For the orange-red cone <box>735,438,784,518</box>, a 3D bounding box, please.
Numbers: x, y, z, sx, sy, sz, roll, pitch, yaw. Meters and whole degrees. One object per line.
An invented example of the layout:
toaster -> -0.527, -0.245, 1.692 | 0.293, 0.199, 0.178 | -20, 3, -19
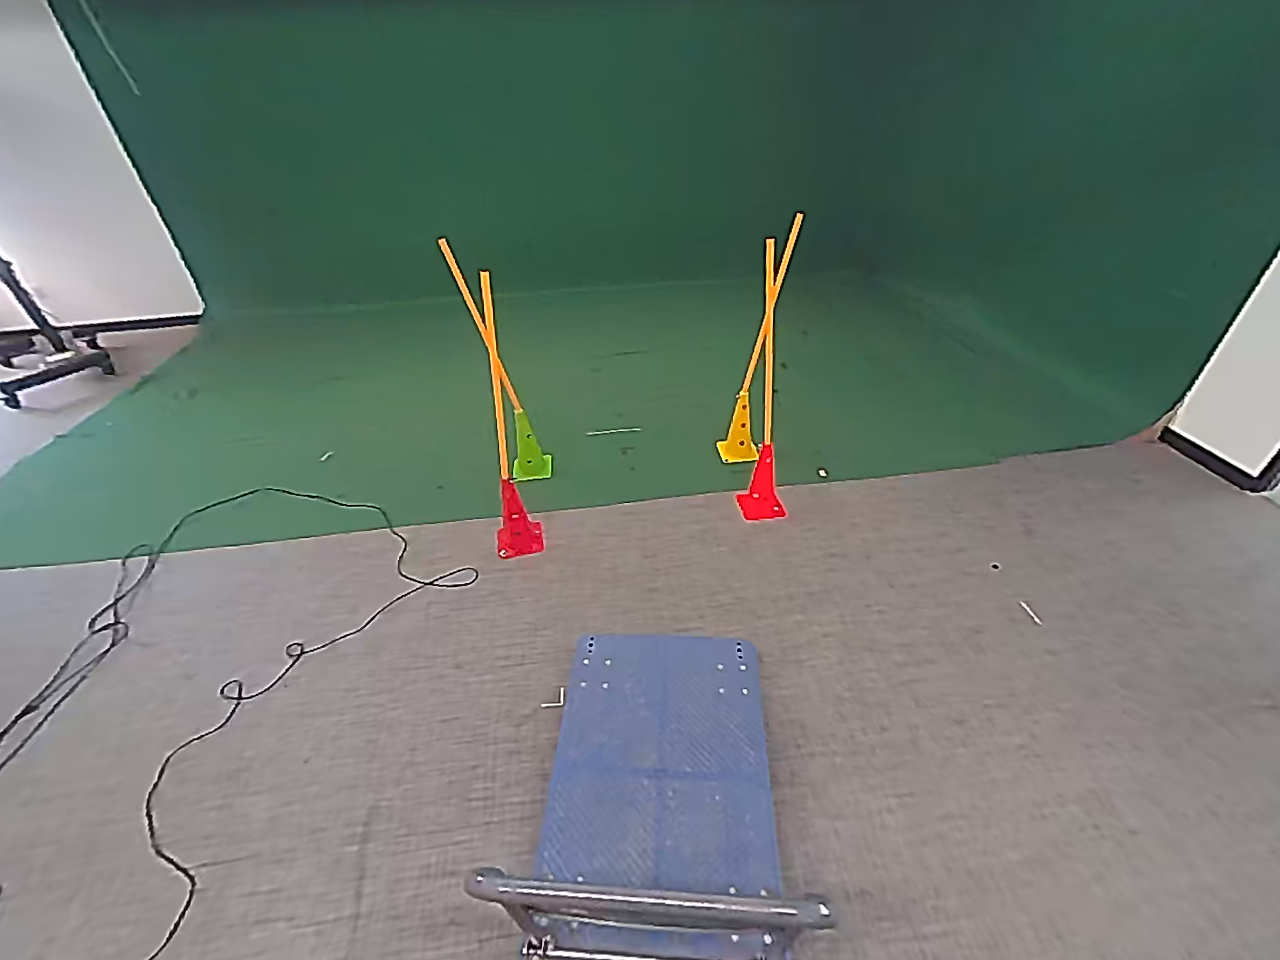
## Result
orange-red cone -> 0.550, -0.029, 2.427 | 0.198, 0.360, 0.199 | -5, 36, -4

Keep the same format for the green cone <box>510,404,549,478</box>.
green cone -> -0.585, -0.215, 2.732 | 0.200, 0.368, 0.202 | -6, 37, -4
